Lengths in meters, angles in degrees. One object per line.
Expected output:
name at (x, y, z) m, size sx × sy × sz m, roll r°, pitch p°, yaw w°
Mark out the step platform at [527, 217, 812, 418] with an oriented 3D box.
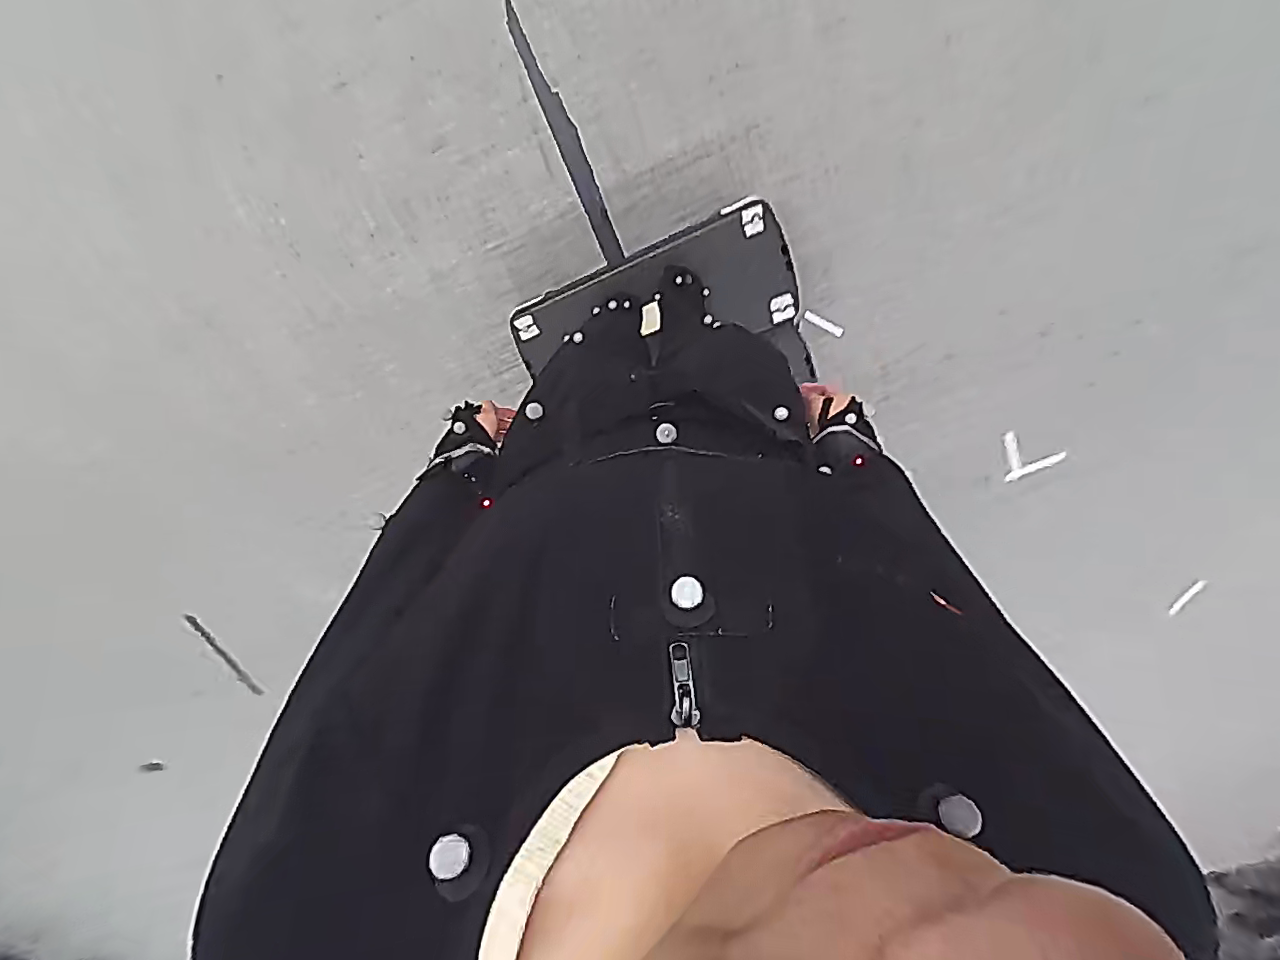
step platform at (0.070, -0.394, 1.348) m, size 0.684 × 0.204 × 0.286 m, roll -18°, pitch 112°, yaw 8°
